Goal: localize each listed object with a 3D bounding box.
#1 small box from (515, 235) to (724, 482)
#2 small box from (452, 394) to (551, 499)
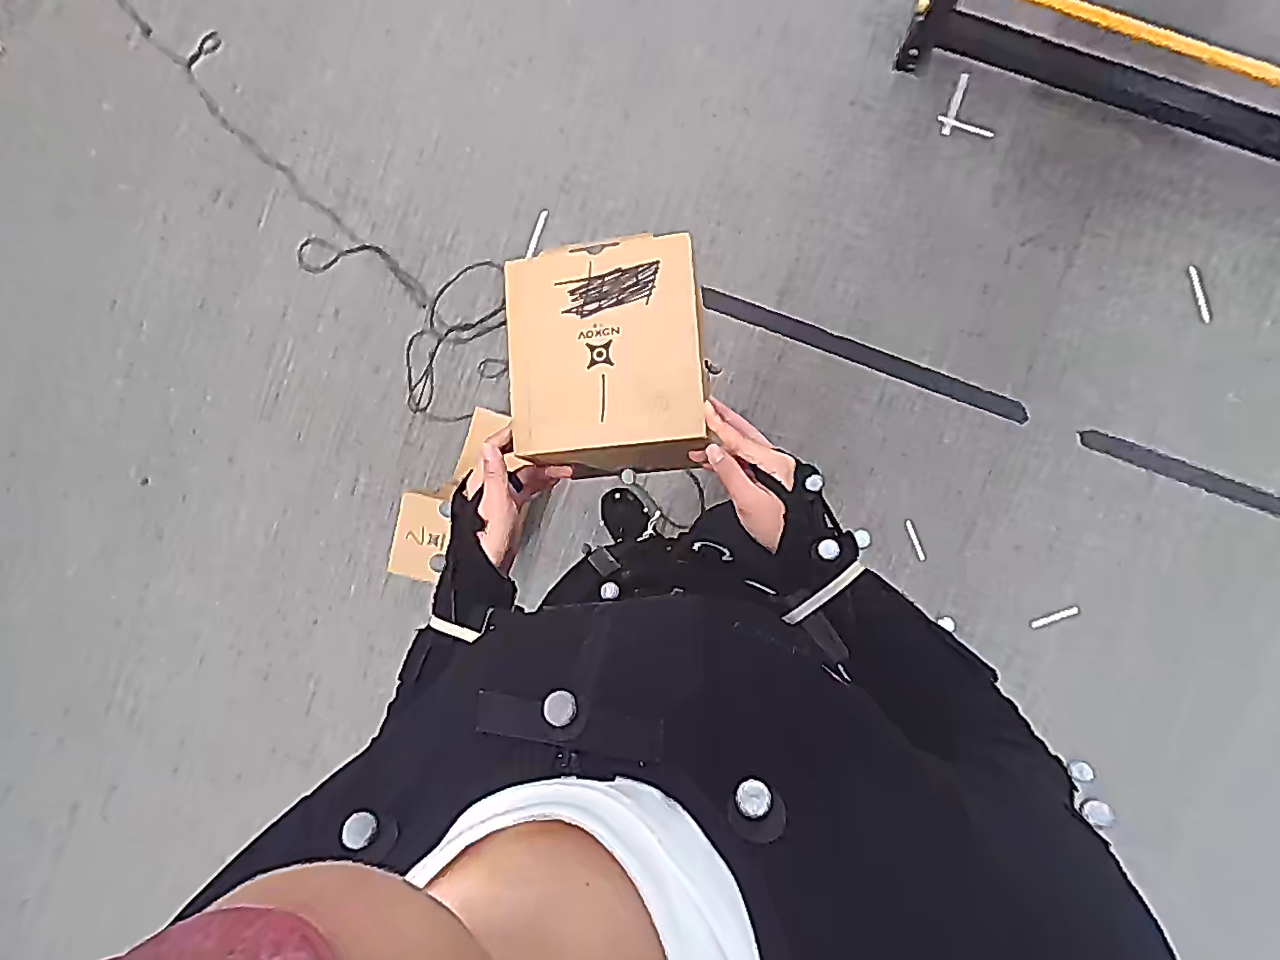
[{"bbox_3d":[-0.010,-0.102,0.530,0.168,0.176,0.179,-6,81,11],"label":"small box"},{"bbox_3d":[-0.304,-0.070,1.221,0.179,0.176,0.168,45,78,-10],"label":"small box"}]
